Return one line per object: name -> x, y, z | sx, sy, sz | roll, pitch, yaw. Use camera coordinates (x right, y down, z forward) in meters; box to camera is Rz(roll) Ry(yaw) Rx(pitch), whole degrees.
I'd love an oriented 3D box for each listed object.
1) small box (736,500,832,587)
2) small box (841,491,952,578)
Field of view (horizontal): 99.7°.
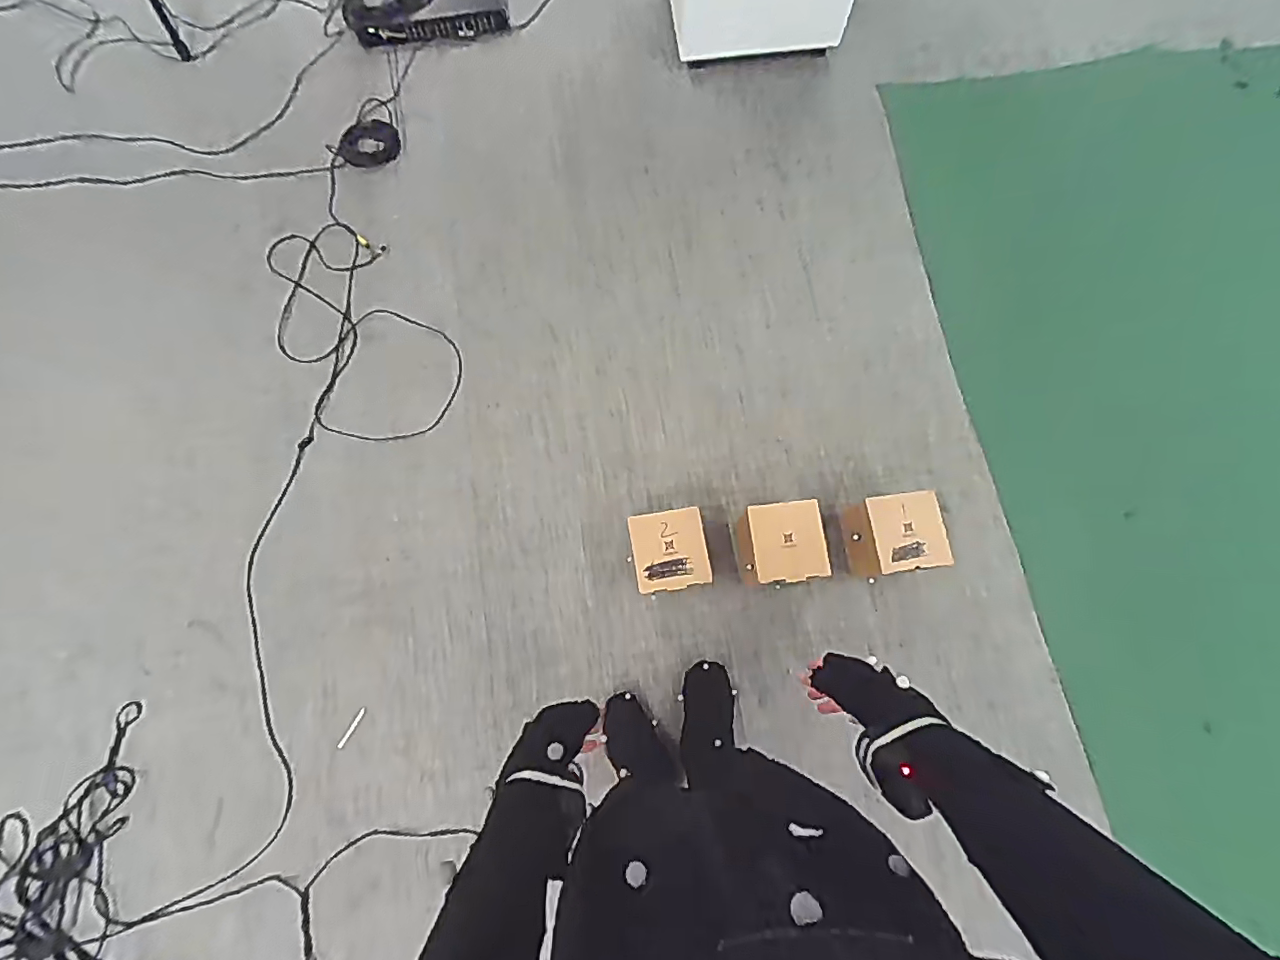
small box -> 0.333, 0.155, 1.285 | 0.168, 0.176, 0.179 | -6, 76, -2
small box -> 0.601, 0.136, 1.289 | 0.168, 0.176, 0.179 | -6, 75, -2
